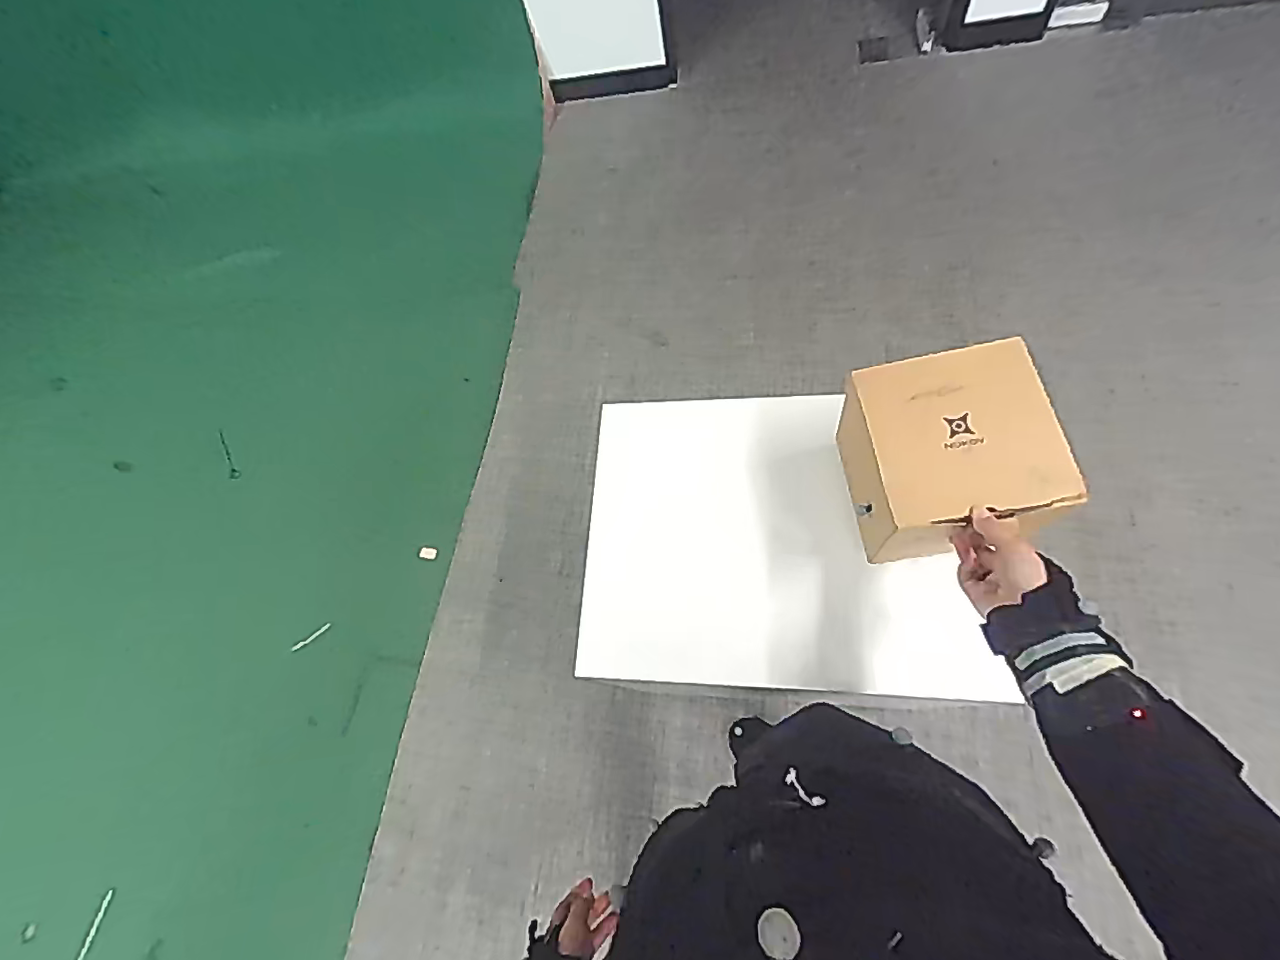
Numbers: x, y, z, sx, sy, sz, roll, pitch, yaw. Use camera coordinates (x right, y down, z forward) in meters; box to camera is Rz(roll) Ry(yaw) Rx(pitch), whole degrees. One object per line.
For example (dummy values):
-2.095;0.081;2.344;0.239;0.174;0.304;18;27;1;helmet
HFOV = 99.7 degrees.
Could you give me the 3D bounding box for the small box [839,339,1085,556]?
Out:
0.326;-0.021;0.593;0.168;0.176;0.179;-10;67;10;small box
